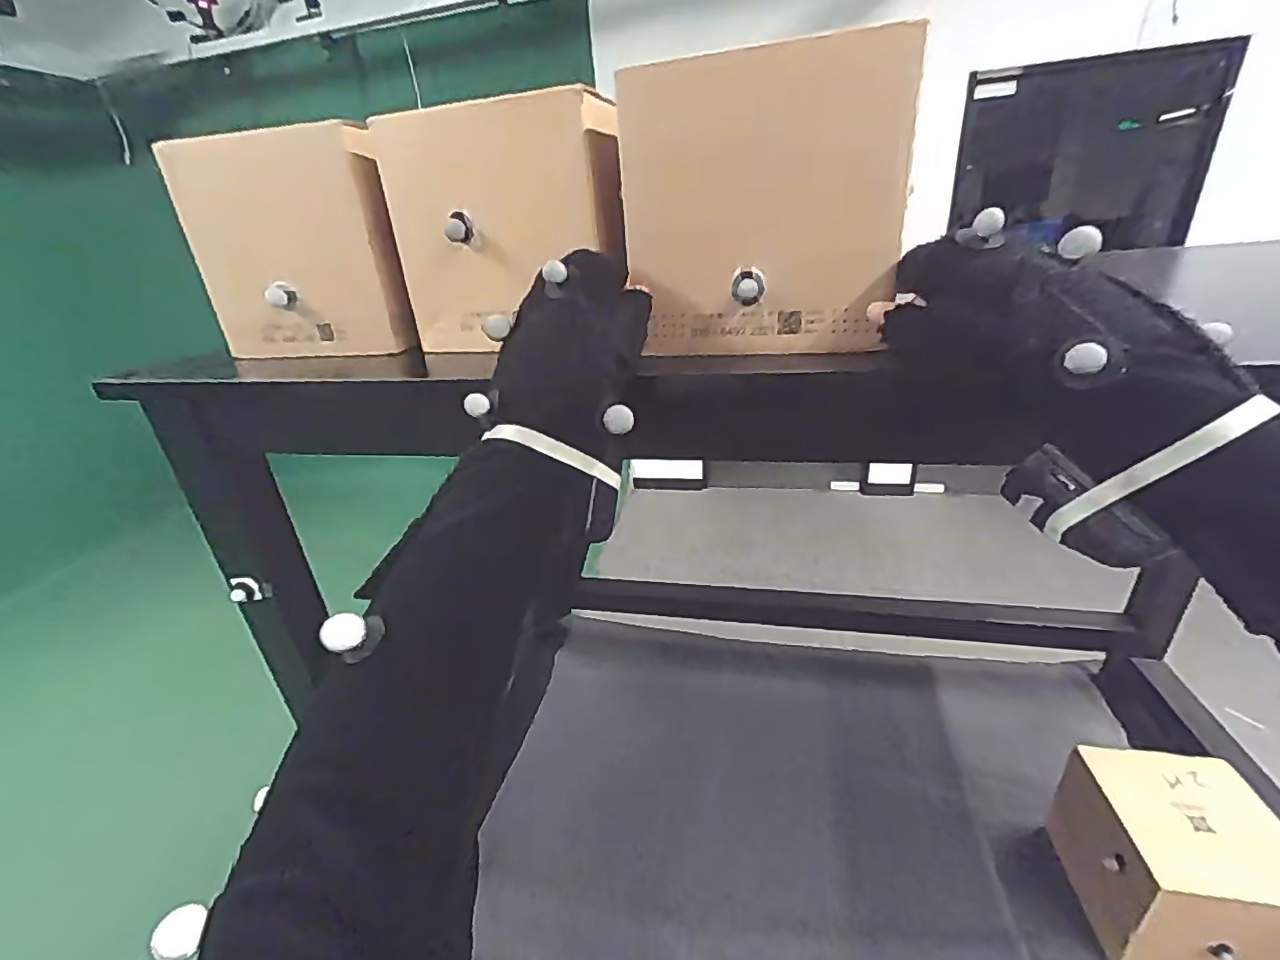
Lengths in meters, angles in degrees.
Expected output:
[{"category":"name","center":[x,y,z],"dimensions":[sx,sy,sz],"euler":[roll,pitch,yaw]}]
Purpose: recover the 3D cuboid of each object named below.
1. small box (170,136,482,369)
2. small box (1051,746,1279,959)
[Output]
[{"category":"small box","center":[-0.265,-0.209,0.509],"dimensions":[0.168,0.176,0.179],"euler":[1,27,12]},{"category":"small box","center":[0.636,0.457,0.645],"dimensions":[0.168,0.176,0.179],"euler":[1,25,12]}]
